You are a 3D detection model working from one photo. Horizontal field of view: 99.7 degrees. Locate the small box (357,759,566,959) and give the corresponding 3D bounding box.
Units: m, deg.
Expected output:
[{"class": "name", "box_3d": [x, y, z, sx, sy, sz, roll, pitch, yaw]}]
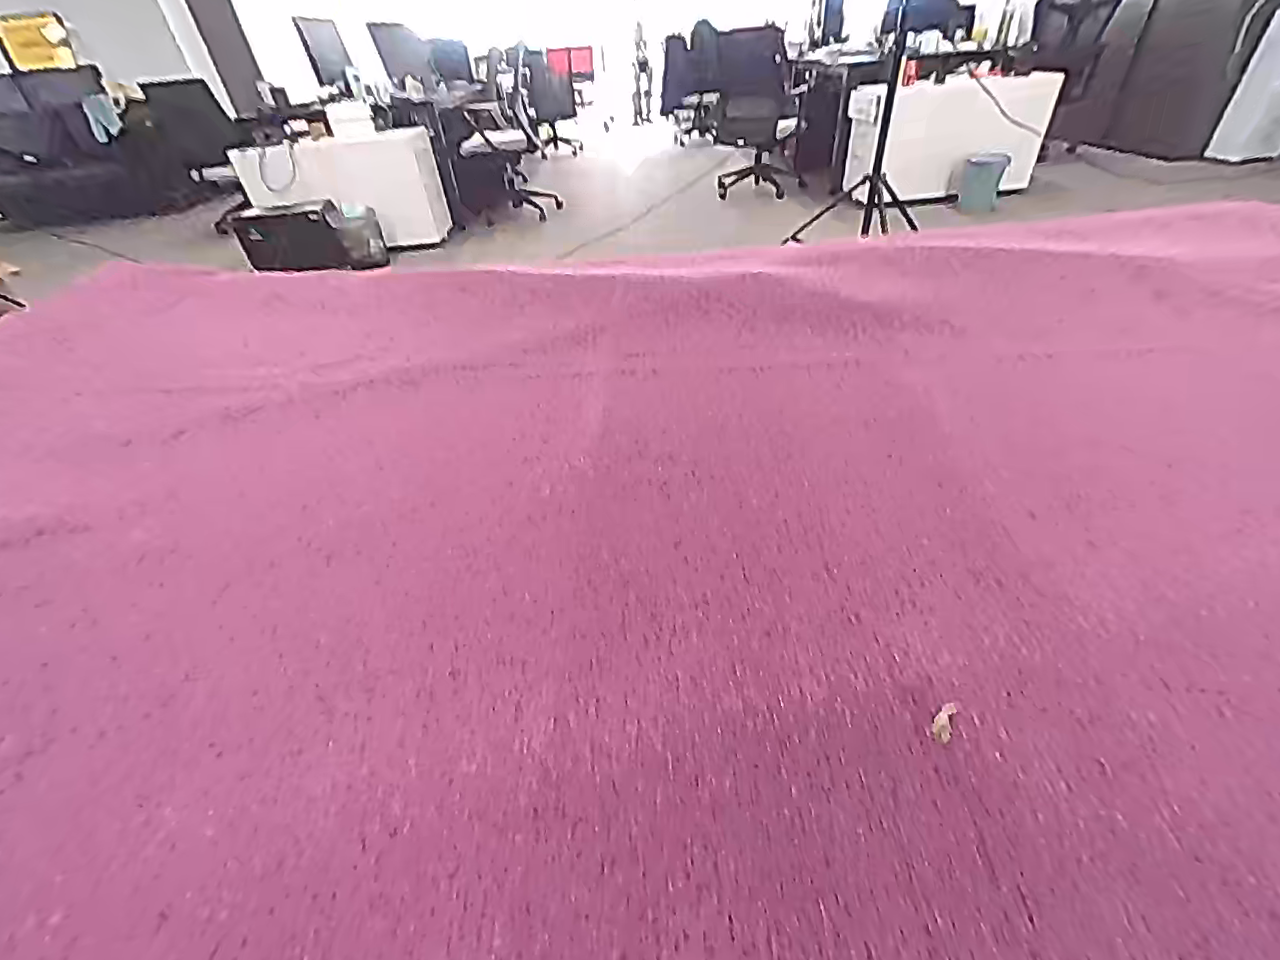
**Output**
[{"class": "small box", "box_3d": [-0.178, 0.444, 0.602, 0.168, 0.176, 0.179, -7, 40, -2]}]
